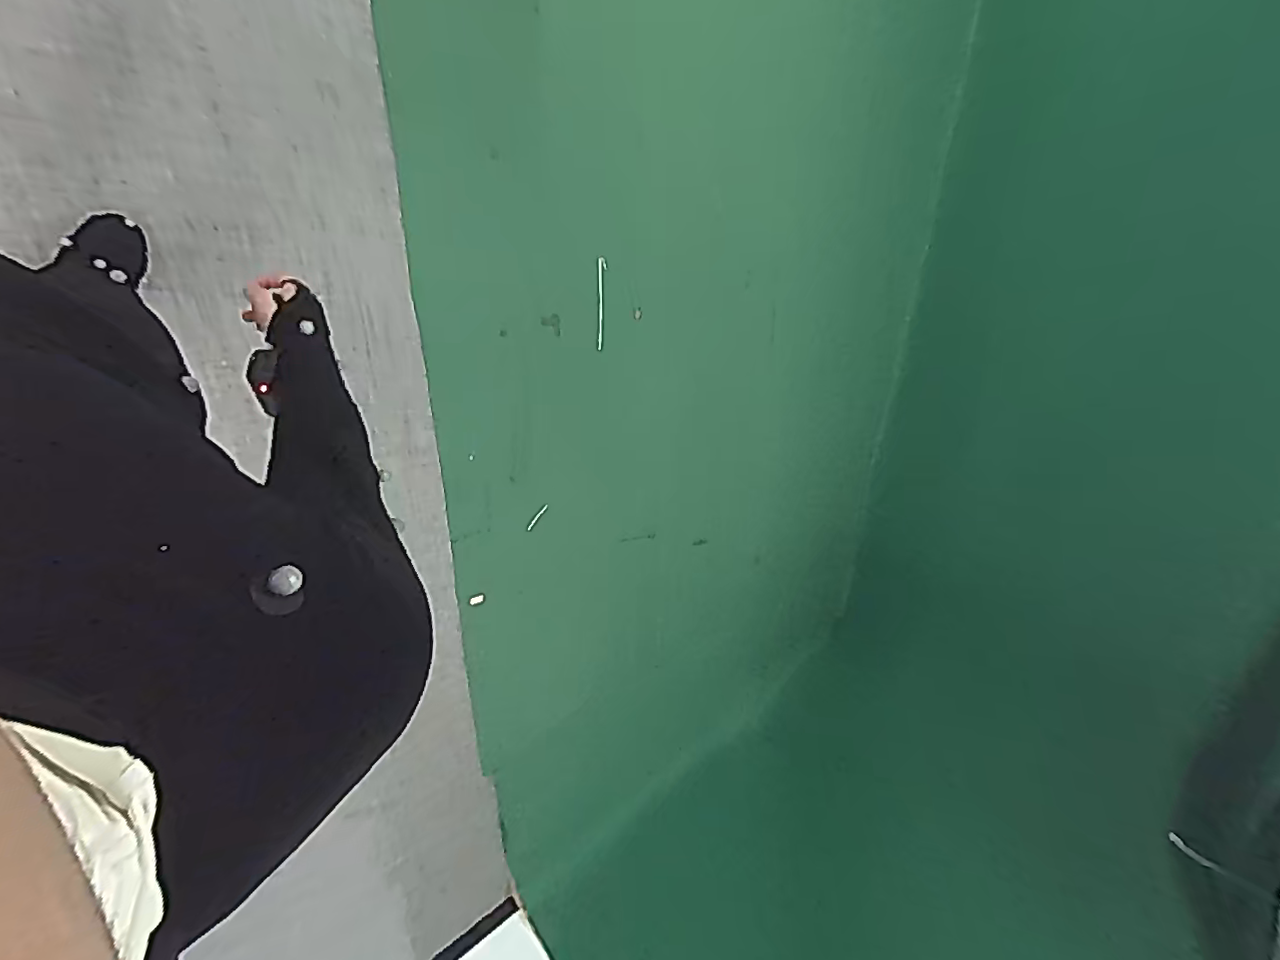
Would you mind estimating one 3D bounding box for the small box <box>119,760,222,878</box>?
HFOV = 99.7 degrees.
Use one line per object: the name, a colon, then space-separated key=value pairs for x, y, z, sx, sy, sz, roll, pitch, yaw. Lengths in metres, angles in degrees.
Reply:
small box: x=-1.277 y=0.916 z=1.475 sx=0.179 sy=0.176 sz=0.168 roll=-19 pitch=122 yaw=-38
